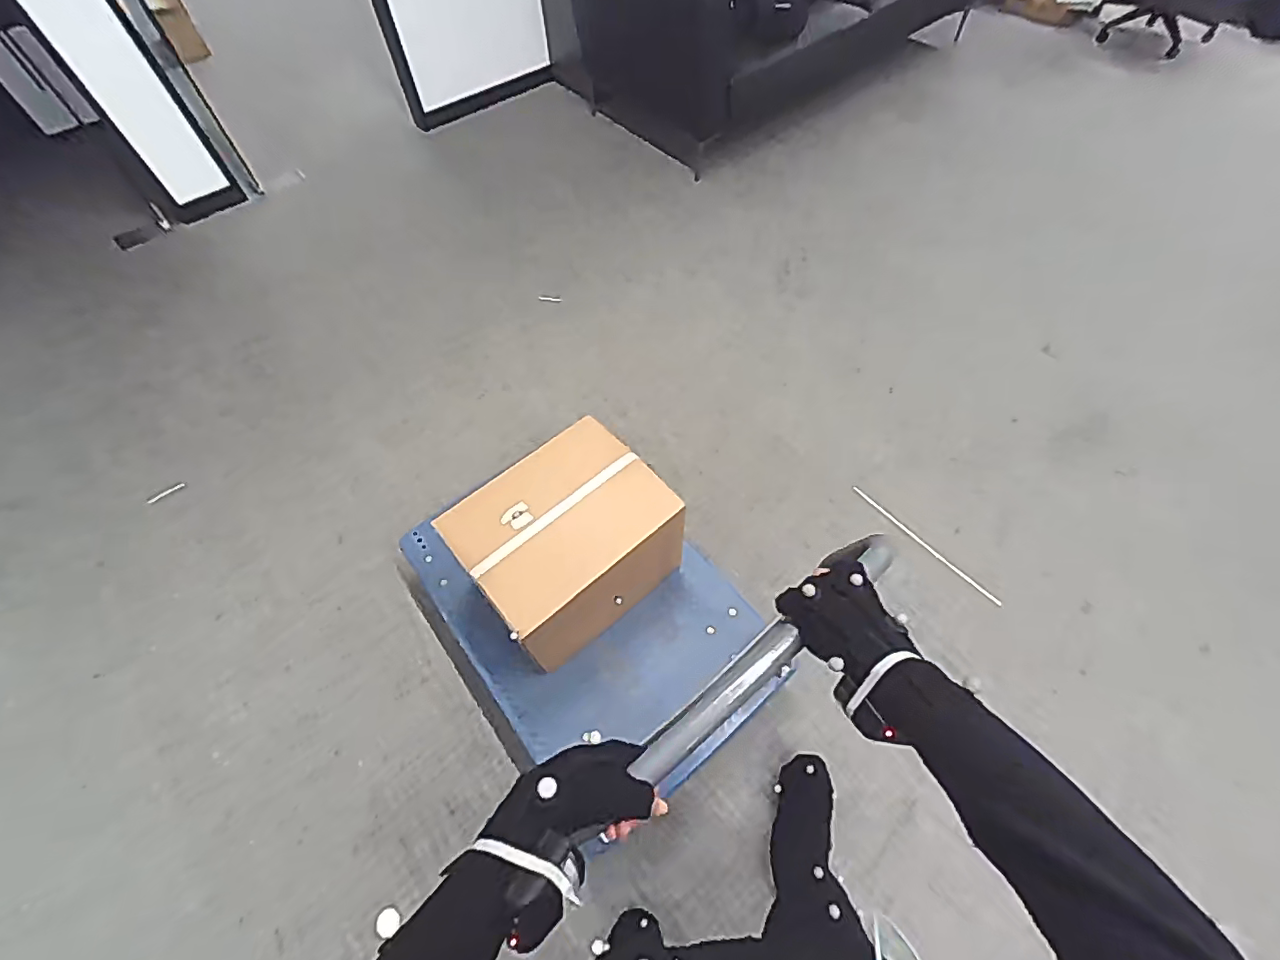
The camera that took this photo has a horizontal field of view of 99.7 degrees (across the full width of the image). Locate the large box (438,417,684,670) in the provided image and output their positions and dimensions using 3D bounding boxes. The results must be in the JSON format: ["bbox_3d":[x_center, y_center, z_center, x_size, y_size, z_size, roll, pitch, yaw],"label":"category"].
[{"bbox_3d":[-0.151,0.145,1.202,0.408,0.320,0.320,-39,65,-19],"label":"large box"}]
